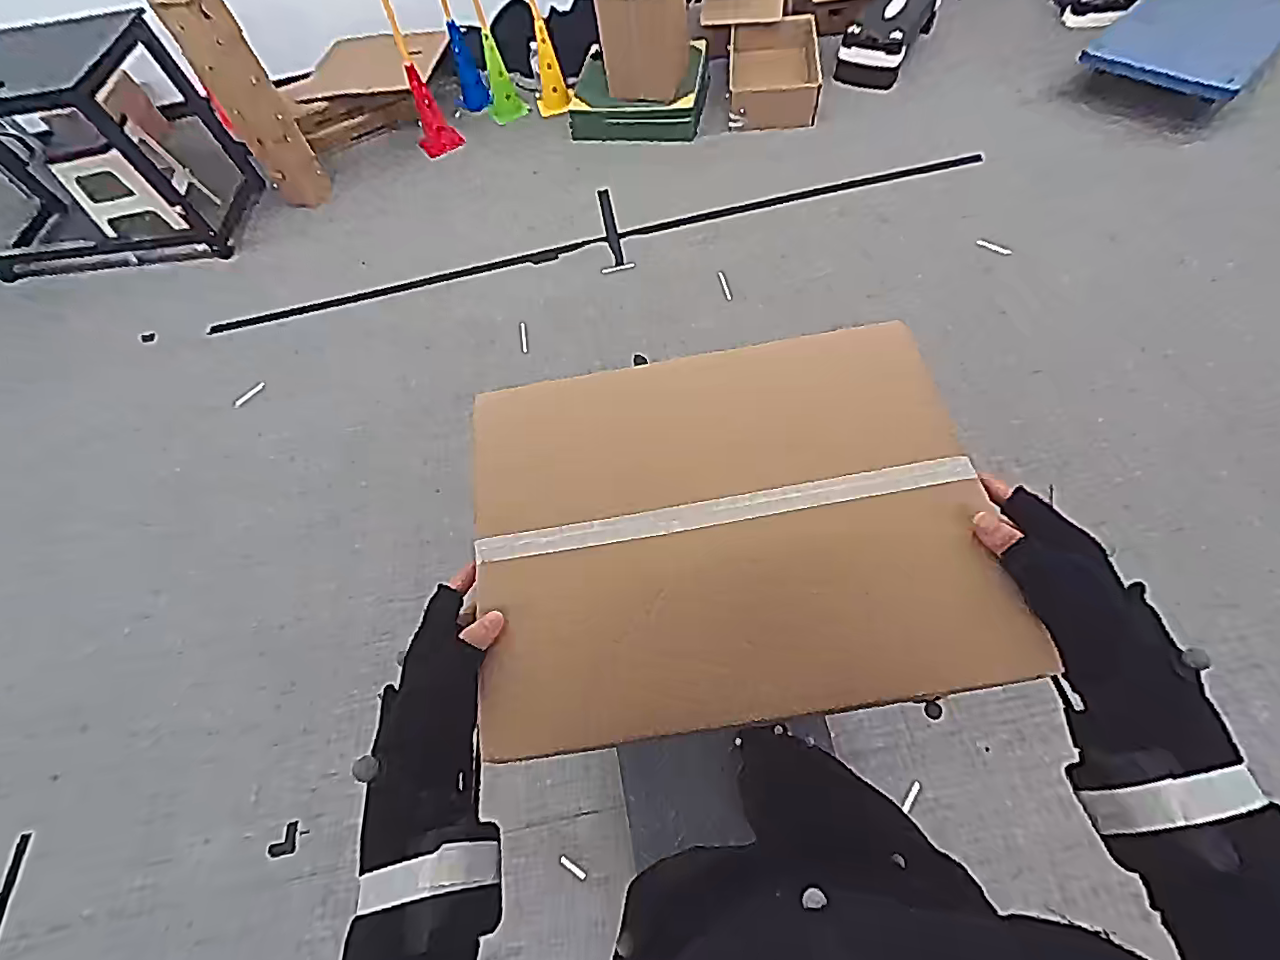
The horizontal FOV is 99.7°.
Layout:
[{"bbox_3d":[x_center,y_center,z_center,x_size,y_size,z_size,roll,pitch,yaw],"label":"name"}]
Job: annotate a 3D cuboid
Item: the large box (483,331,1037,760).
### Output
[{"bbox_3d":[0.083,0.090,0.583,0.408,0.320,0.320,-10,64,1],"label":"large box"}]
